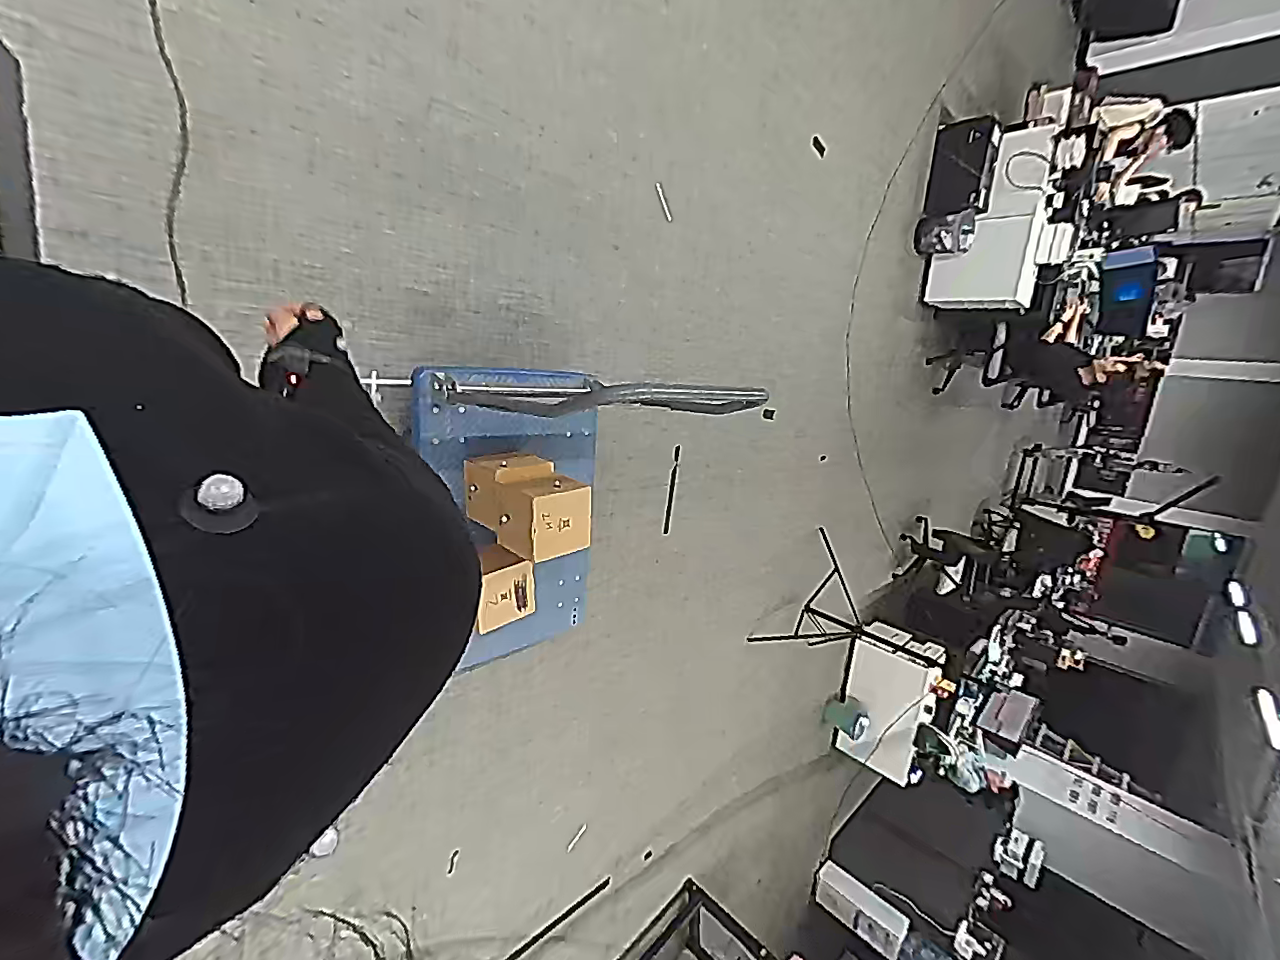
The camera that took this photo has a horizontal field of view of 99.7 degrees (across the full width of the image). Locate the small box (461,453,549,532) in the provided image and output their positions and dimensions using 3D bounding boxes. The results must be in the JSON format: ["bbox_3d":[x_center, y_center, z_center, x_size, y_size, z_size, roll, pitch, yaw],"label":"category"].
[{"bbox_3d":[-0.366,0.027,1.466,0.179,0.176,0.168,-12,111,-43],"label":"small box"}]

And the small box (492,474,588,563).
[{"bbox_3d":[-0.252,0.089,1.361,0.179,0.176,0.168,-11,111,-43],"label":"small box"}]
